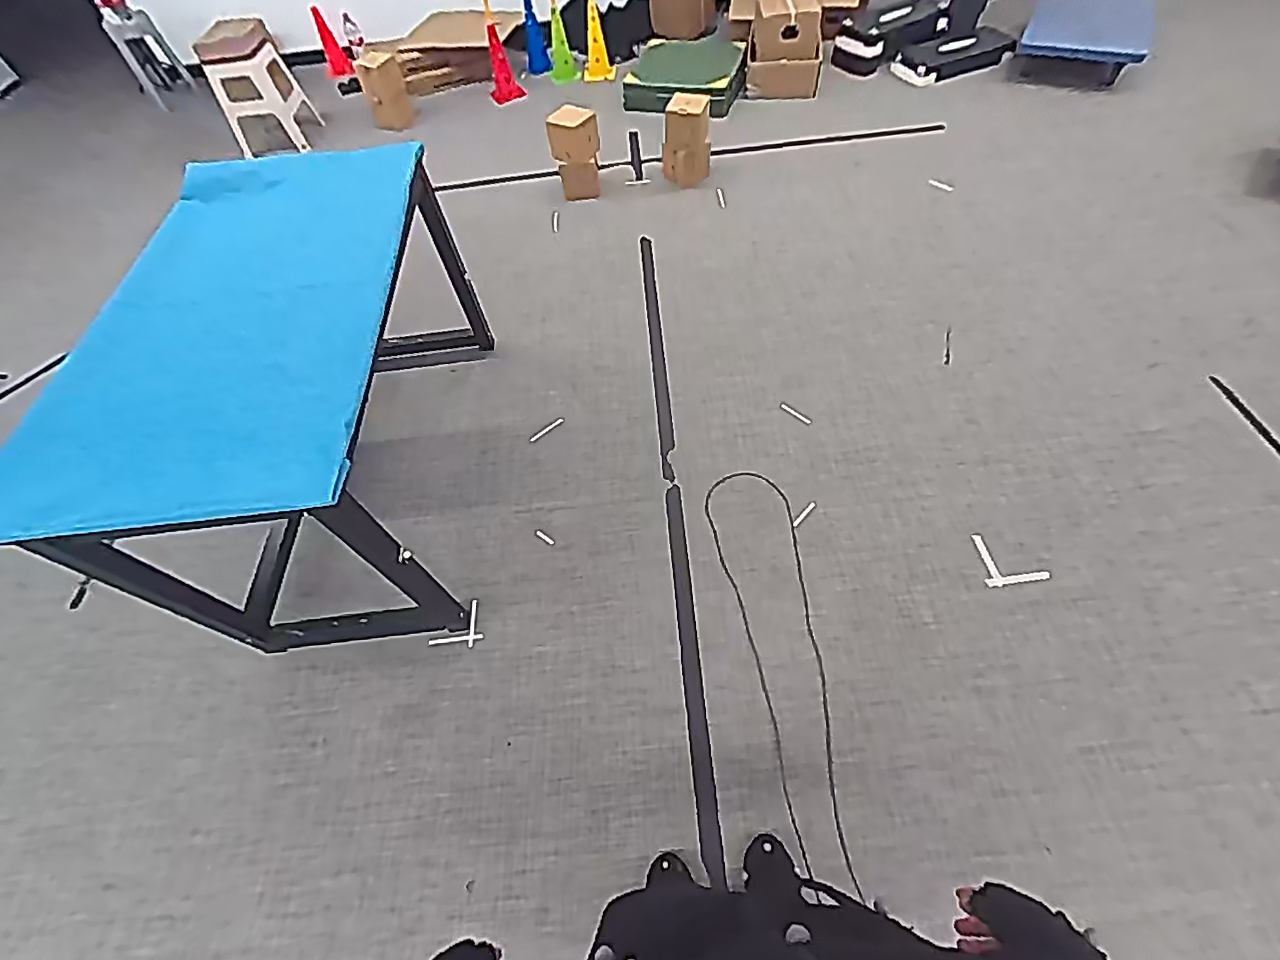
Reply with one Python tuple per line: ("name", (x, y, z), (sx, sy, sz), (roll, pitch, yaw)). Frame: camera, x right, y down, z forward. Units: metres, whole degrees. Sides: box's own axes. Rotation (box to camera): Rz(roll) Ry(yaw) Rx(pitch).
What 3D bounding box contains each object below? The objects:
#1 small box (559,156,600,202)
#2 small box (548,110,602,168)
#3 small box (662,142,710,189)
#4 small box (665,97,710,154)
("small box", (-0.292, -1.498, 2.663), (0.179, 0.176, 0.168), (-5, 56, 3))
("small box", (-0.306, -1.600, 2.530), (0.179, 0.176, 0.168), (26, 62, 21))
("small box", (0.229, -1.571, 2.665), (0.179, 0.176, 0.168), (-32, 62, -15))
("small box", (0.223, -1.651, 2.523), (0.168, 0.176, 0.179), (15, 59, 12))
